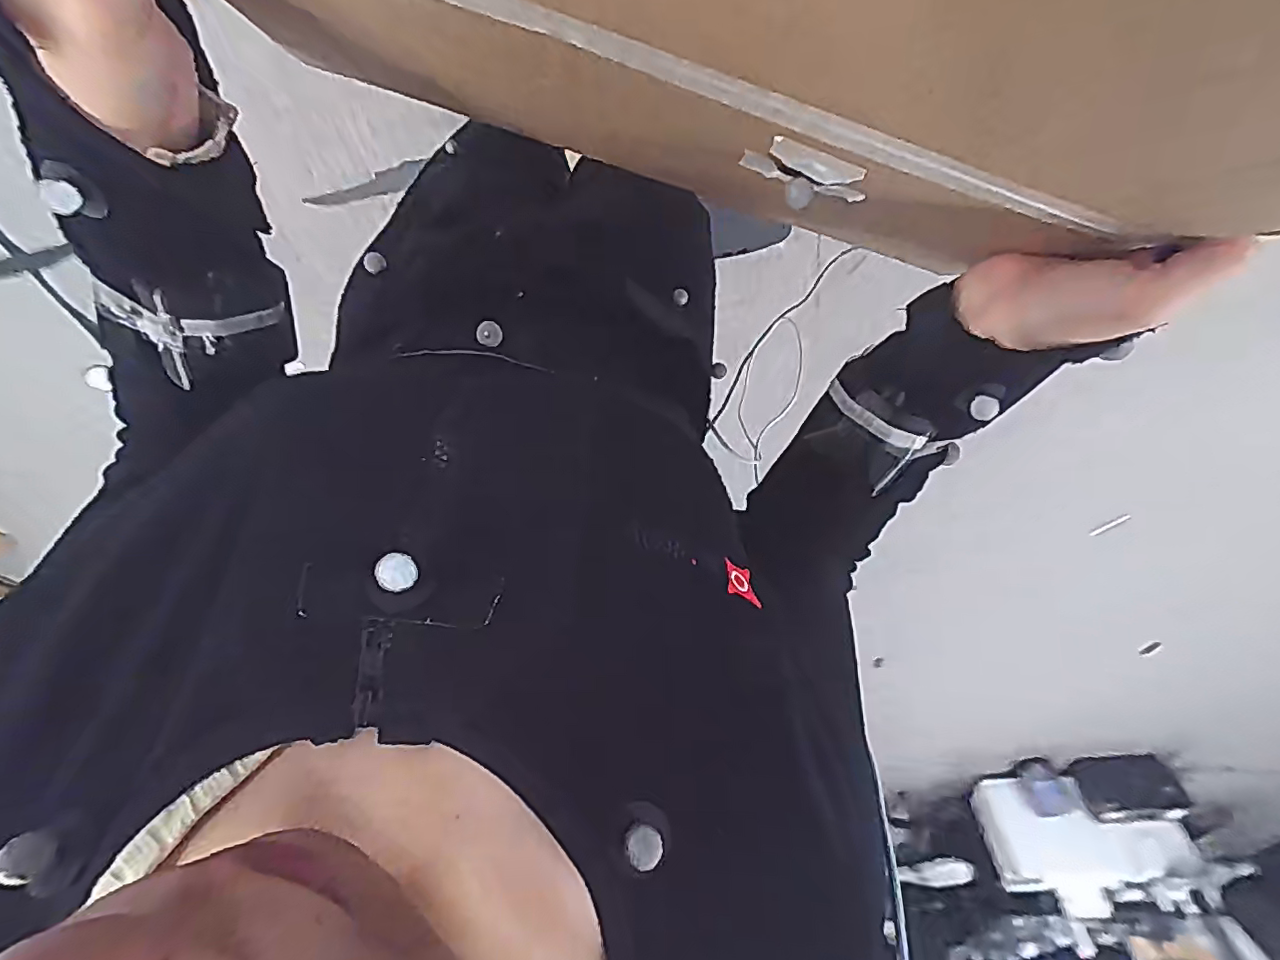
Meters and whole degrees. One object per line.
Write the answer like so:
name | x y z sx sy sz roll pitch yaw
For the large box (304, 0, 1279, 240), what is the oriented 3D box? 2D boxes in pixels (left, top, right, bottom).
large box | 0.071 -0.291 0.118 0.408 0.320 0.320 14 106 -7
